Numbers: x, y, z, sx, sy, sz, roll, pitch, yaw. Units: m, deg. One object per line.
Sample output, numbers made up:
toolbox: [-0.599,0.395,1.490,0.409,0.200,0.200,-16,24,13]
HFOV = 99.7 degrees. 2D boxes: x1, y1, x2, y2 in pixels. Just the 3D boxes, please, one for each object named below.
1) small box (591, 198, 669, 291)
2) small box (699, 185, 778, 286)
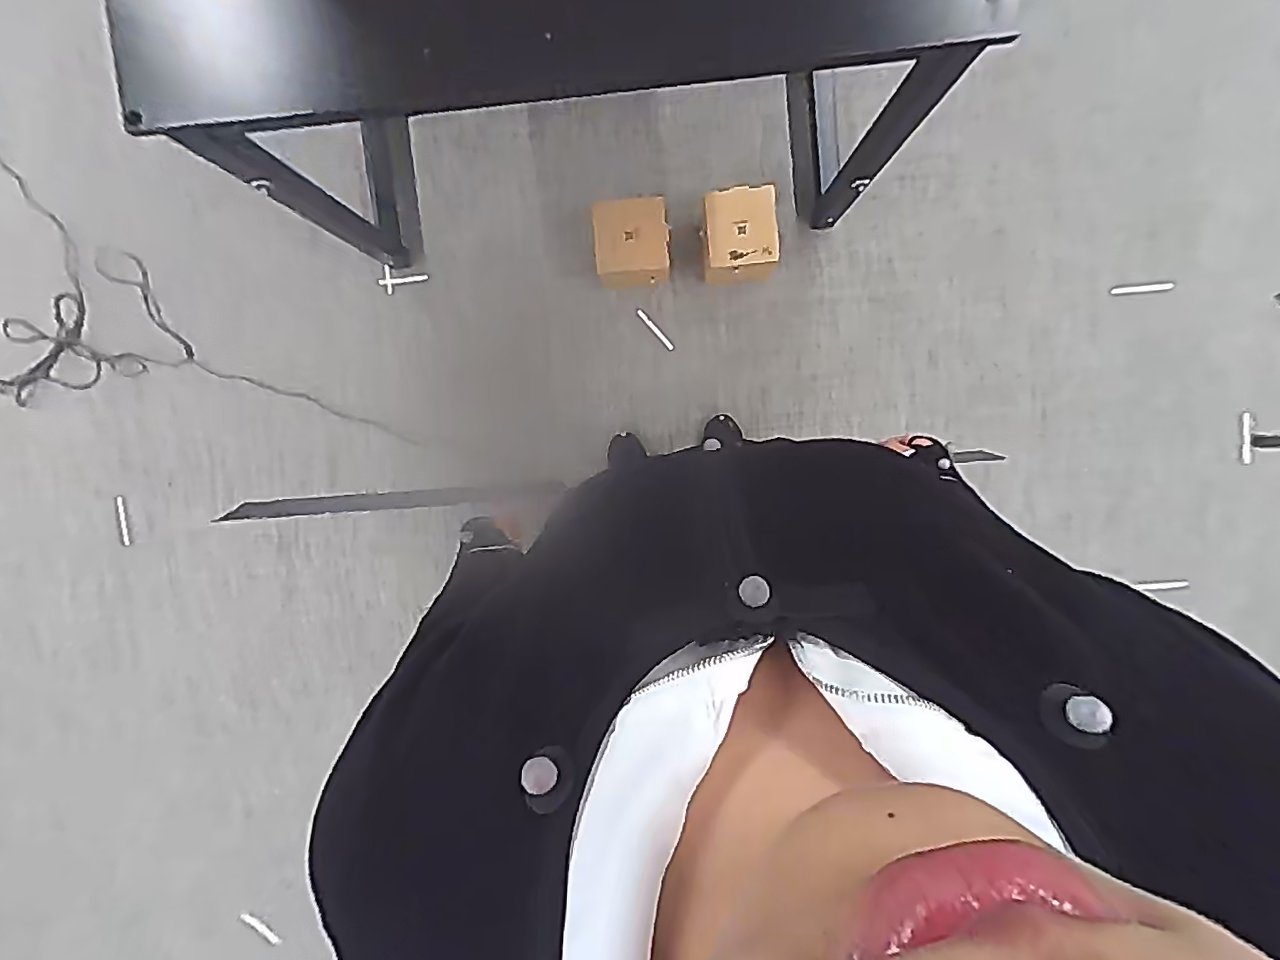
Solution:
small box: [-0.021,-0.587,1.368,0.179,0.176,0.168,-5,95,3]
small box: [0.241,-0.604,1.354,0.168,0.176,0.179,-6,95,3]
